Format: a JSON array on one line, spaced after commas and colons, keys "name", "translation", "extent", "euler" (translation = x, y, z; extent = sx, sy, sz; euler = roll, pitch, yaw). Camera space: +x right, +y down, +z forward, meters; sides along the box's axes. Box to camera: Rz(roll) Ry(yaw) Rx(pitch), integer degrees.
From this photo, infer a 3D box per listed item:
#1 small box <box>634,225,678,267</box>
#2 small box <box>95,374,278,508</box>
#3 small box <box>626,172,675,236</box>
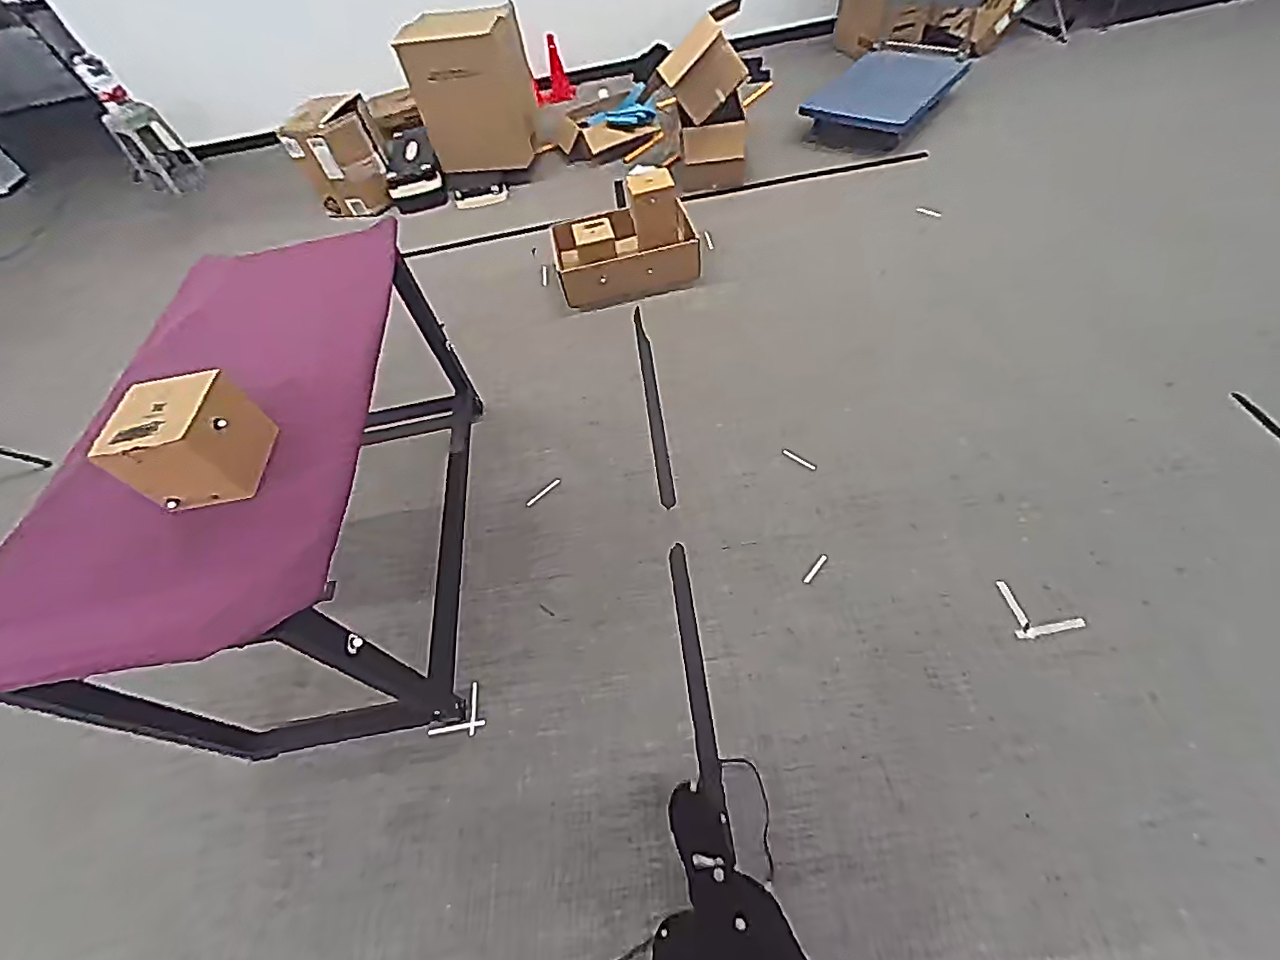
[{"name": "small box", "translation": [0.072, -1.075, 2.426], "extent": [0.168, 0.176, 0.179], "euler": [-13, 52, 0]}, {"name": "small box", "translation": [-0.812, -0.063, 0.994], "extent": [0.168, 0.176, 0.179], "euler": [-10, 53, 2]}, {"name": "small box", "translation": [0.047, -1.167, 2.294], "extent": [0.179, 0.176, 0.168], "euler": [-14, 53, 0]}]
